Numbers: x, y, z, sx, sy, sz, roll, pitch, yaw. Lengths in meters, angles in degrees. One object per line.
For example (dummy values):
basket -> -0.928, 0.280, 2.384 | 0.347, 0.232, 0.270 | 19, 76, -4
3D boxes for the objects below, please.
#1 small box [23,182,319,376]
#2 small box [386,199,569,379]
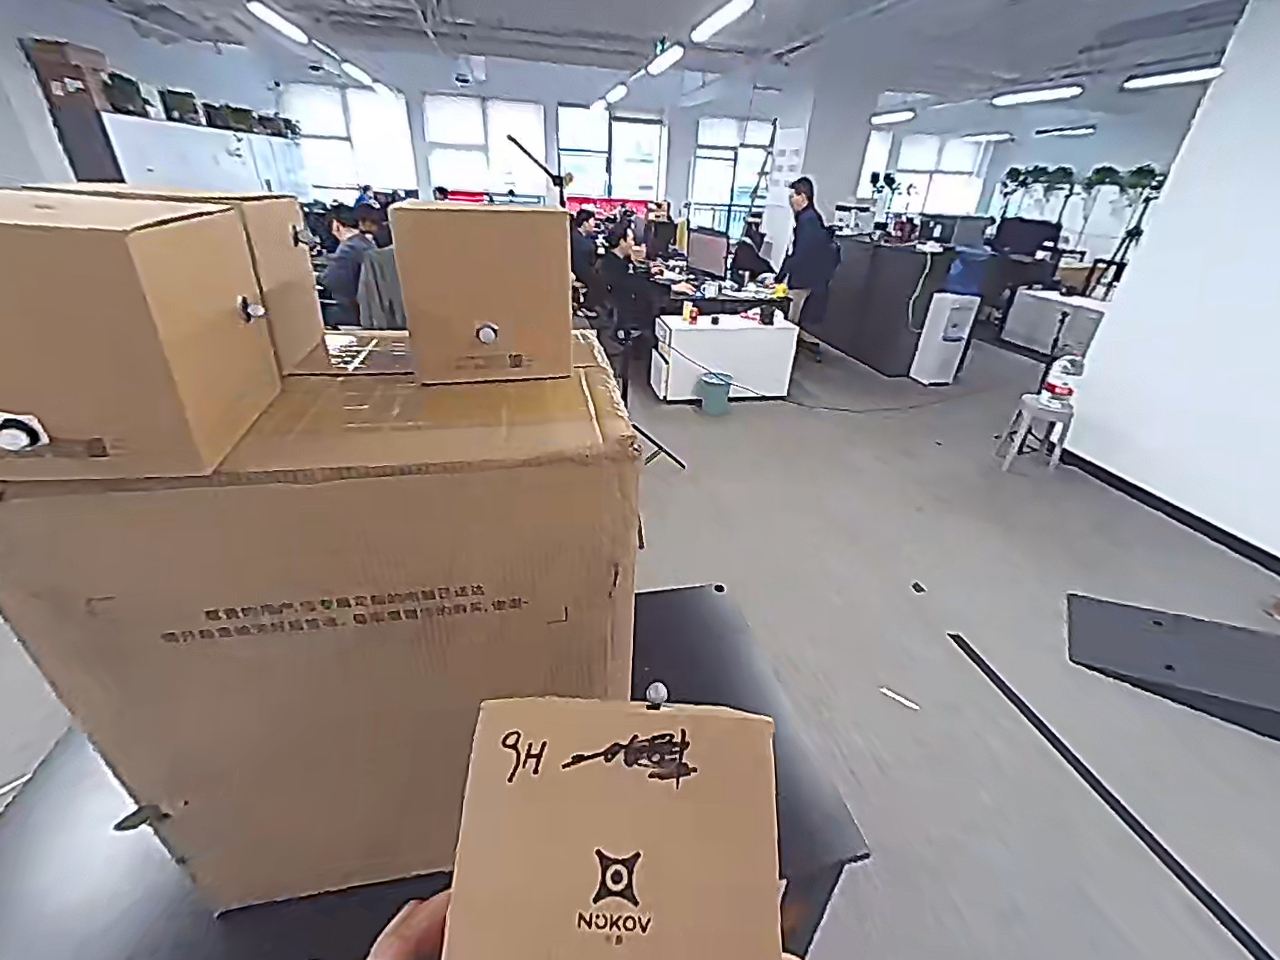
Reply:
small box -> -0.467, -0.216, 0.580 | 0.168, 0.176, 0.179 | -4, 28, -14
small box -> -0.174, -0.219, 0.614 | 0.168, 0.176, 0.179 | -6, 29, -13
